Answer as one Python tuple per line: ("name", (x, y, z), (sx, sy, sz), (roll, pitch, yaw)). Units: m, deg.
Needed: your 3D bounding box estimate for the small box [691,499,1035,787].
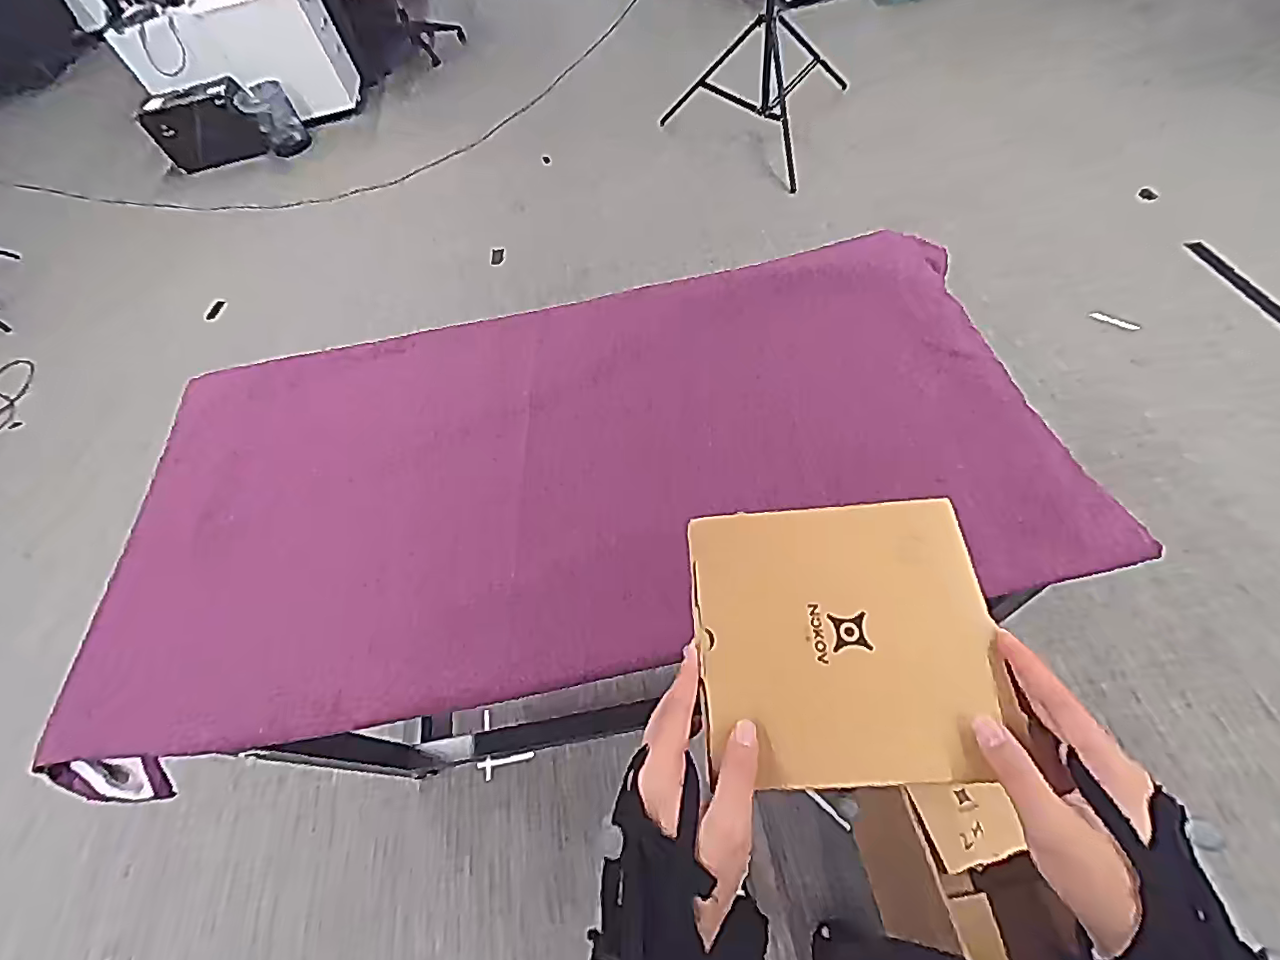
("small box", (0.132, 0.127, 0.400), (0.179, 0.176, 0.168), (-5, 62, 5))
